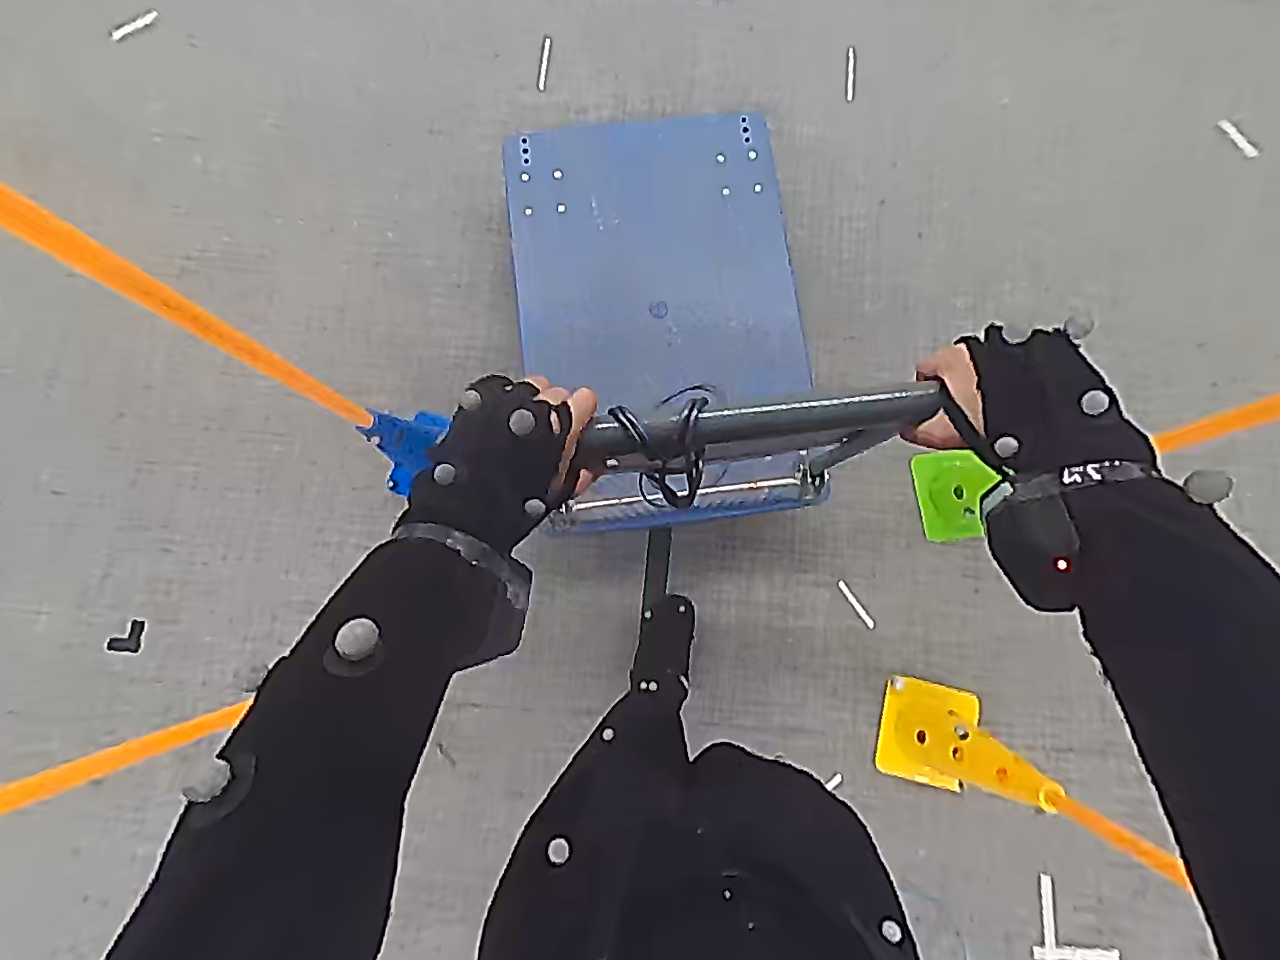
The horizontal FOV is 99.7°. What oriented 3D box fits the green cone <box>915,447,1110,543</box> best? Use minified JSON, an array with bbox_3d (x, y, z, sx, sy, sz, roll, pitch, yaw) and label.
[{"bbox_3d":[0.731,0.006,1.047,0.200,0.368,0.202,-9,81,-2],"label":"green cone"}]
